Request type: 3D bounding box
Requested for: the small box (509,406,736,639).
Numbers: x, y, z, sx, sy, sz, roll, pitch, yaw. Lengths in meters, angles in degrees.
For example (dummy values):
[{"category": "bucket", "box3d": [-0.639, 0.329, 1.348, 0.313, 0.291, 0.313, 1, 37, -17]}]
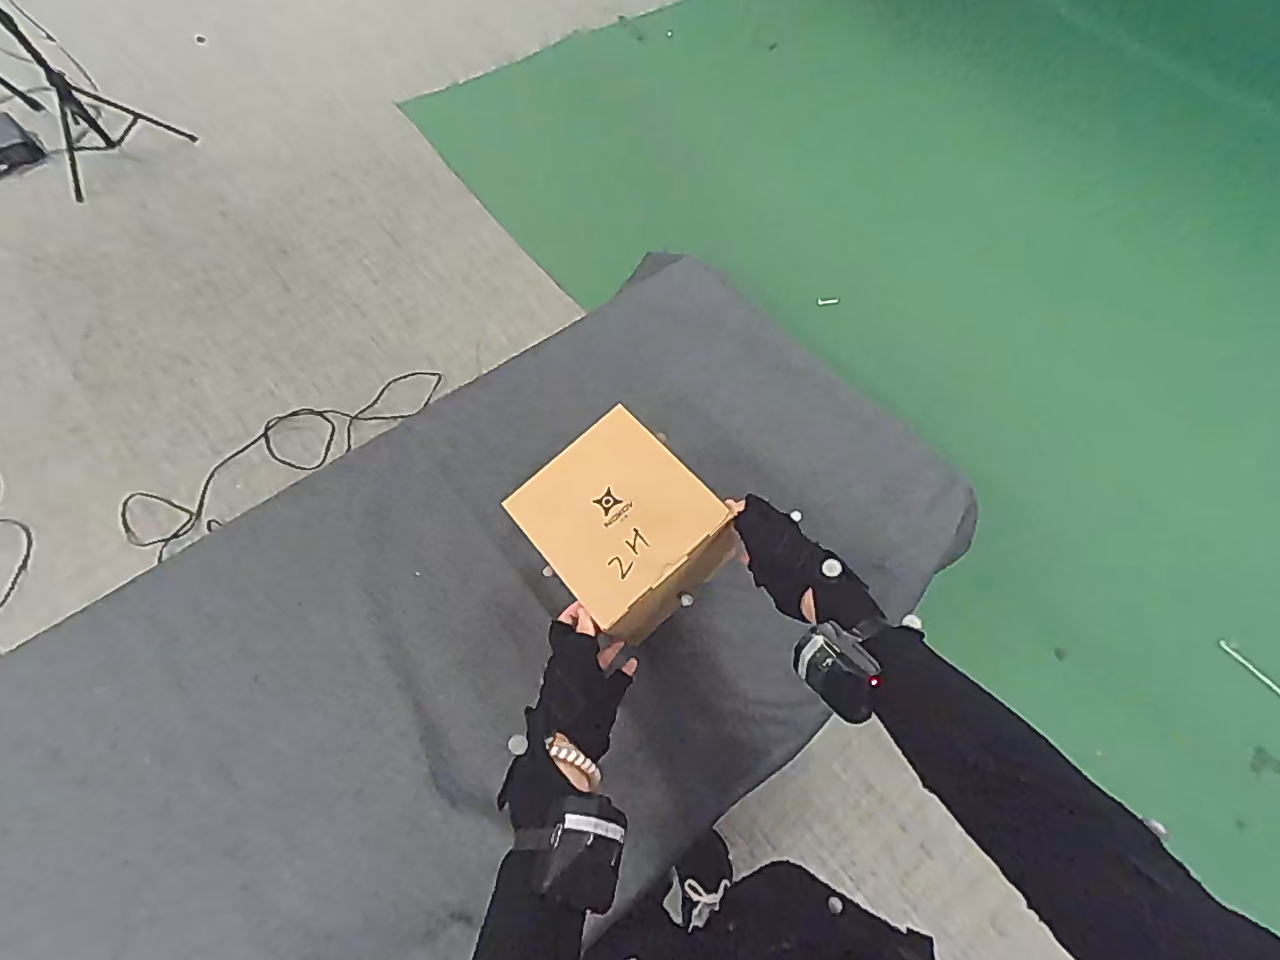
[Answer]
[{"category": "small box", "box3d": [-0.010, 0.058, 0.608, 0.168, 0.176, 0.179, -41, 67, -6]}]
